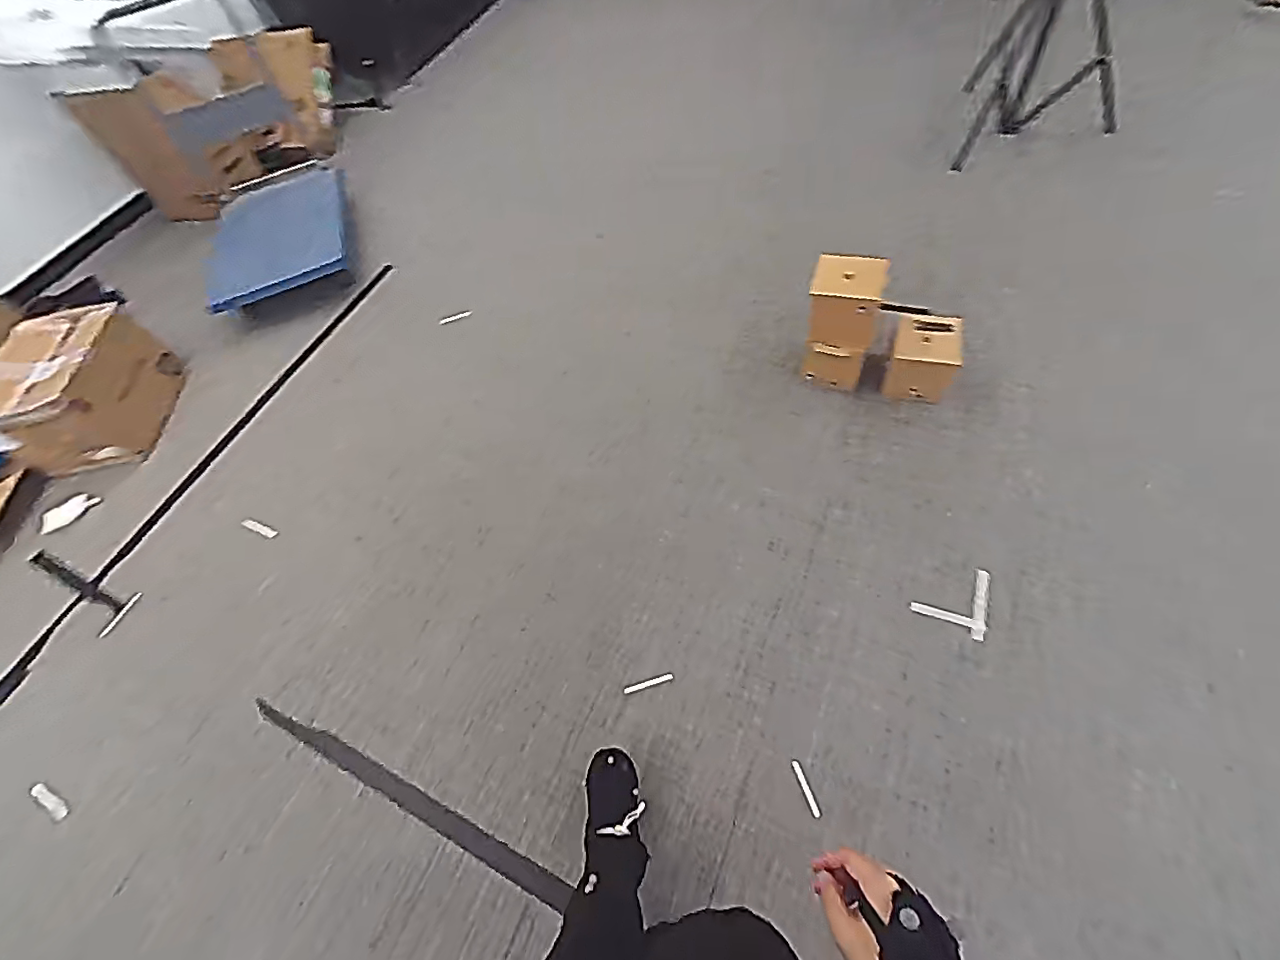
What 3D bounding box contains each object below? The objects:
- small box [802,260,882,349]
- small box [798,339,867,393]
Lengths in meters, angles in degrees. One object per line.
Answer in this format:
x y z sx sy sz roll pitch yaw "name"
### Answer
0.554 -0.484 1.498 0.179 0.176 0.168 11 61 17 "small box"
0.581 -0.390 1.629 0.168 0.176 0.179 18 62 21 "small box"
